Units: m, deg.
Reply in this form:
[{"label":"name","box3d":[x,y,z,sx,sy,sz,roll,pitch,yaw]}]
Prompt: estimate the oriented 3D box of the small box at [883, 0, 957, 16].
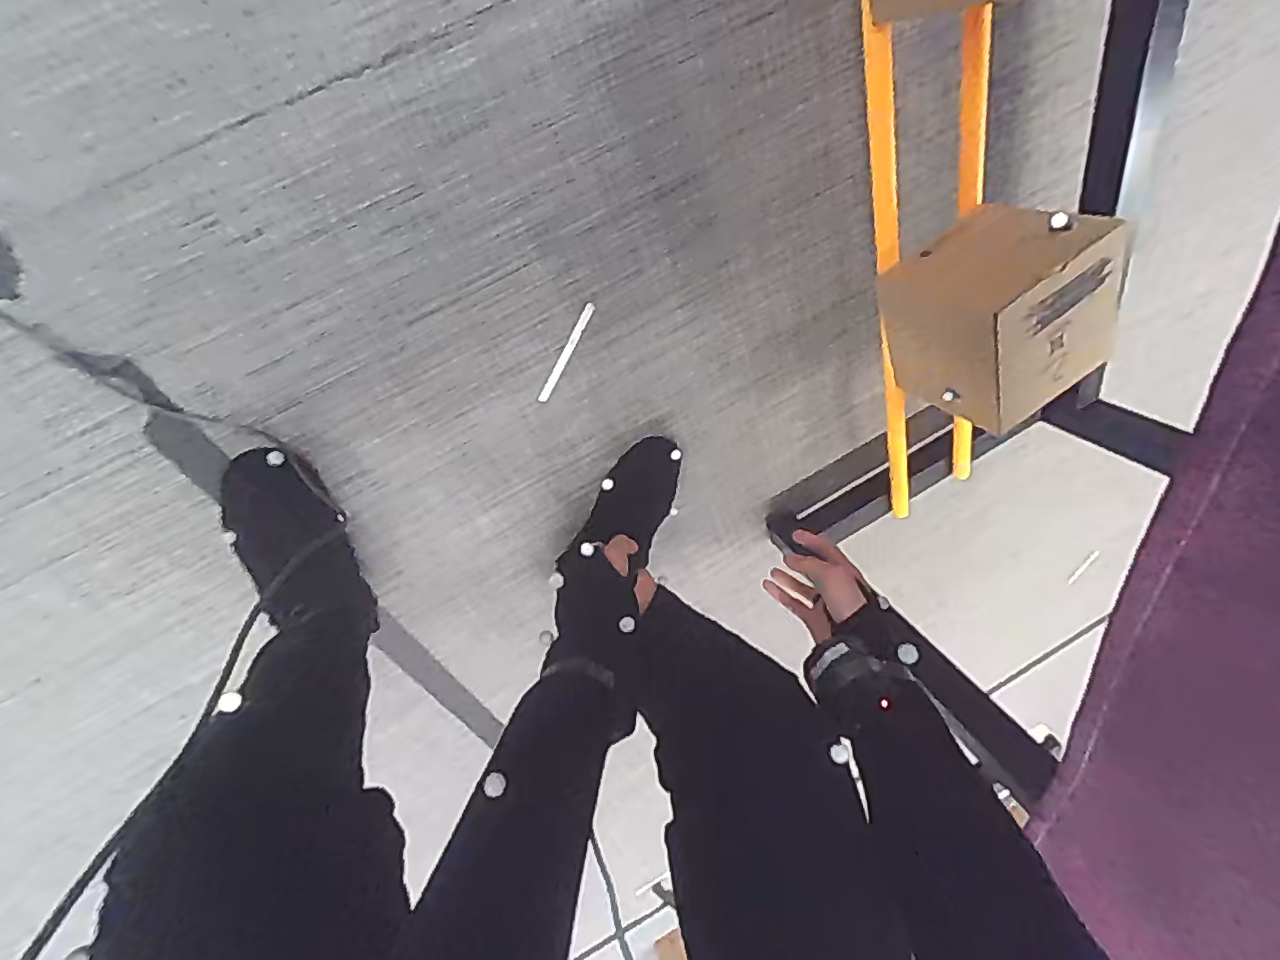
[{"label":"small box","box3d":[0.288,-0.483,0.390,0.168,0.176,0.179,-31,130,-3]}]
